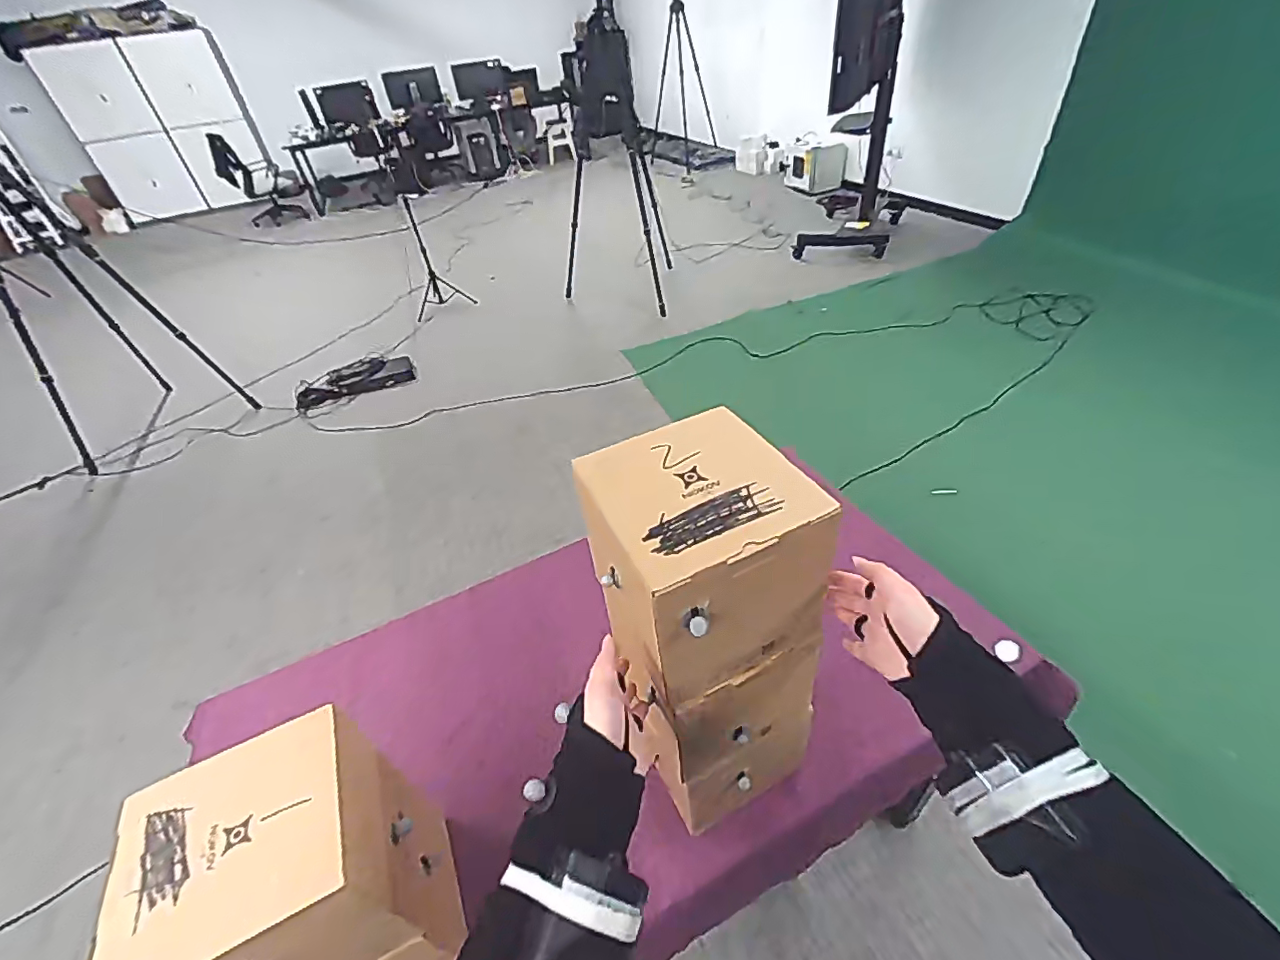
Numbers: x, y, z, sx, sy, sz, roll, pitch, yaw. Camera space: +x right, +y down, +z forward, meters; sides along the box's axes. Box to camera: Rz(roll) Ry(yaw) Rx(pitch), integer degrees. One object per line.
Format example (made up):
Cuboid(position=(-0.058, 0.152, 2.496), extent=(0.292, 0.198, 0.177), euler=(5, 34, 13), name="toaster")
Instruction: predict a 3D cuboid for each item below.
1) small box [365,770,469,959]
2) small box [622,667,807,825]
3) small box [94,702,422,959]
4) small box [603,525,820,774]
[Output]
Cuboid(position=(-0.306, 0.471, 0.601), extent=(0.168, 0.176, 0.179), euler=(-22, 42, -16), name="small box")
Cuboid(position=(0.097, 0.312, 0.713), extent=(0.179, 0.176, 0.168), euler=(-24, 43, -16), name="small box")
Cuboid(position=(-0.325, 0.348, 0.492), extent=(0.179, 0.176, 0.168), euler=(-22, 43, -16), name="small box")
Cuboid(position=(0.073, 0.187, 0.611), extent=(0.168, 0.176, 0.179), euler=(-22, 43, -15), name="small box")
